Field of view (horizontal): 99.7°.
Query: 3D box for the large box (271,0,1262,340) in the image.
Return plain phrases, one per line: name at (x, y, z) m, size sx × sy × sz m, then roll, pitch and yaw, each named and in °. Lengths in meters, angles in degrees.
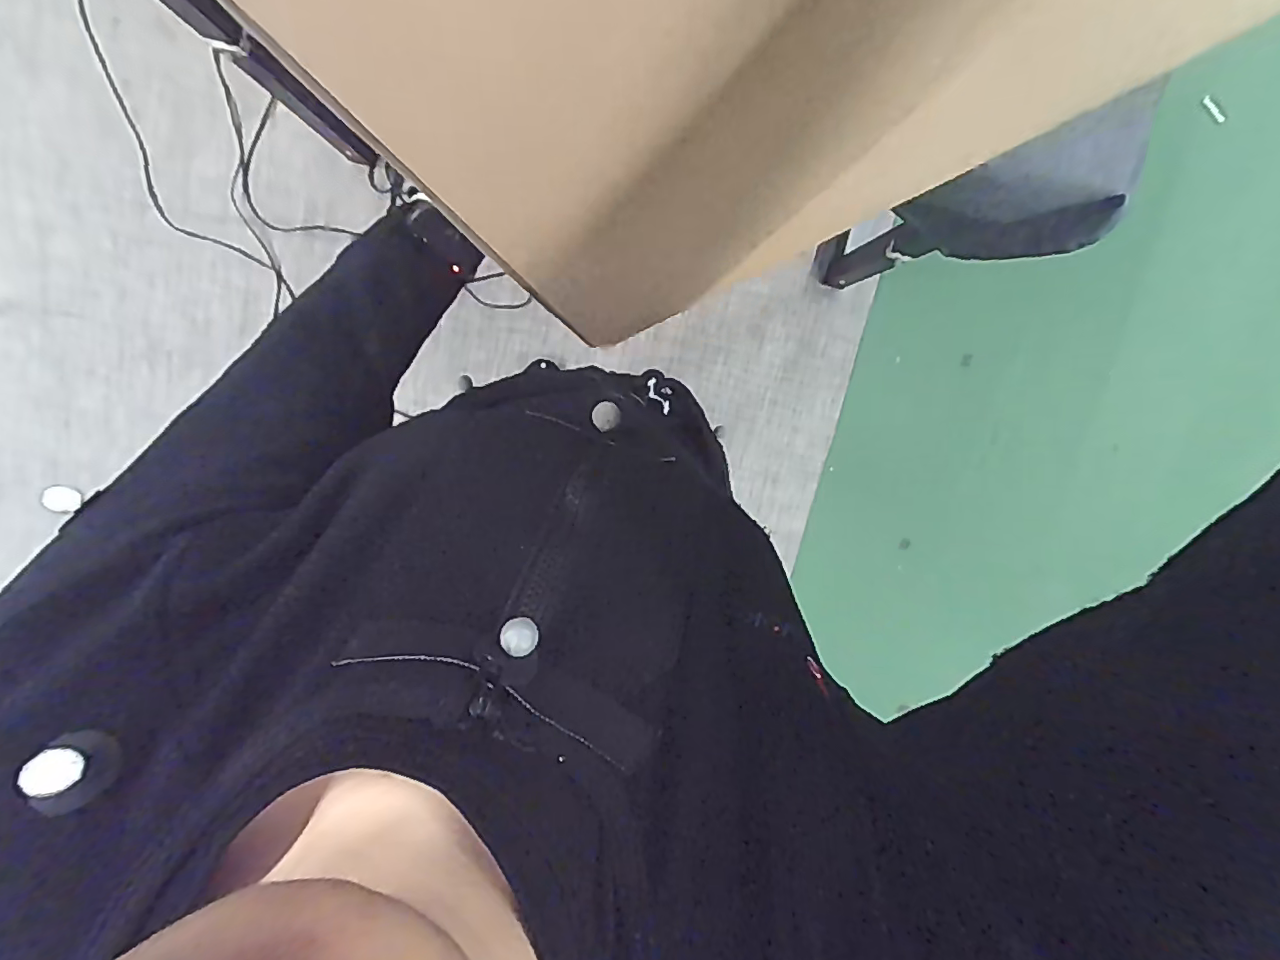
large box at (0.060, -0.338, 0.241) m, size 0.408 × 0.320 × 0.320 m, roll -24°, pitch 64°, yaw 21°
